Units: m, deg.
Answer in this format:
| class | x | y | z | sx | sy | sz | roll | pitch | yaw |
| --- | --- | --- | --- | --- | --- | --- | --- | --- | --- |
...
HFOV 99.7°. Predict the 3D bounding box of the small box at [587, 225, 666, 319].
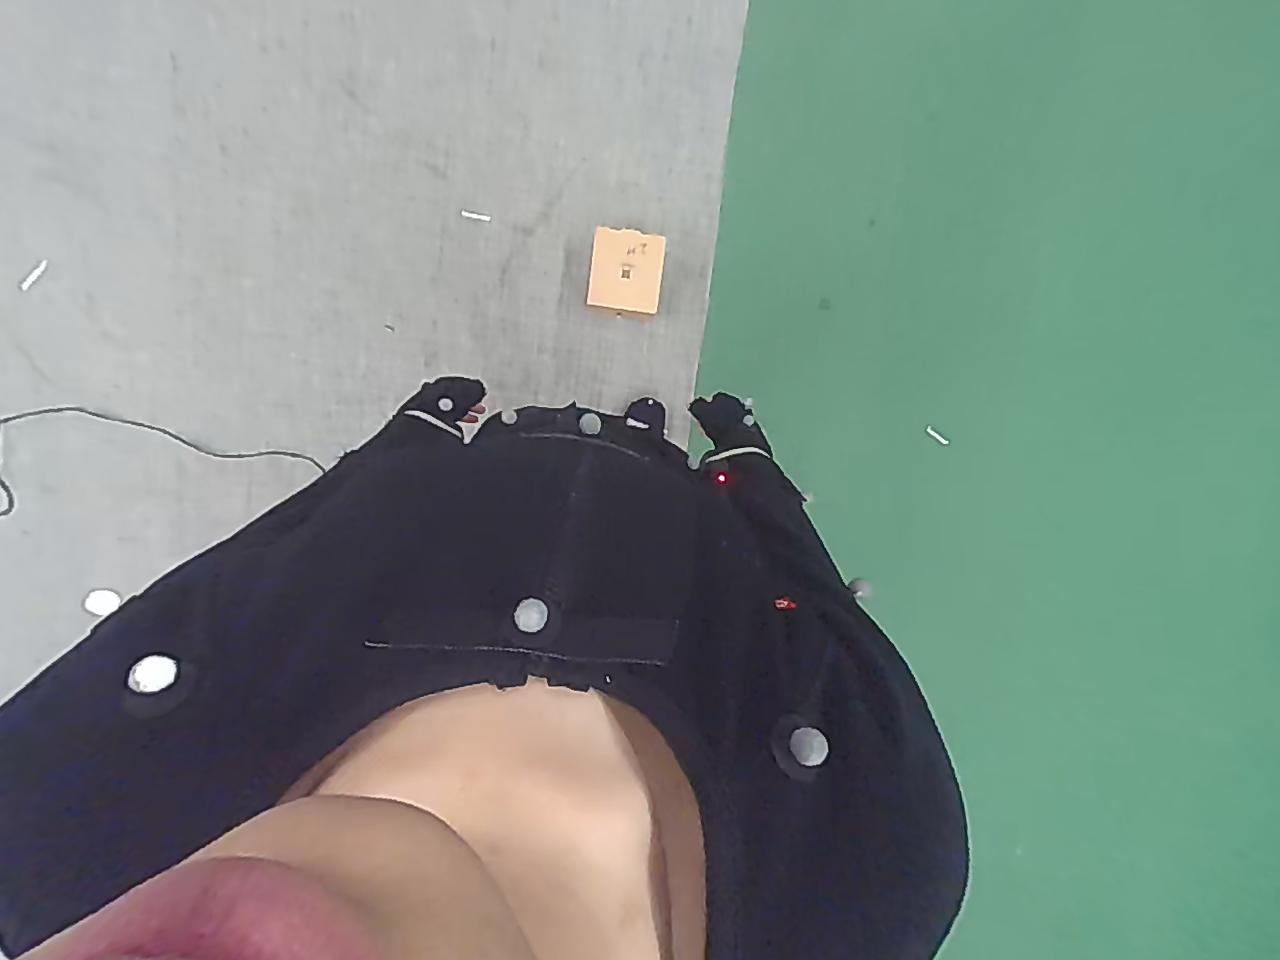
| class | x | y | z | sx | sy | sz | roll | pitch | yaw |
| --- | --- | --- | --- | --- | --- | --- | --- | --- | --- |
| small box | -0.035 | -0.495 | 1.313 | 0.168 | 0.176 | 0.179 | 7 | 100 | -5 |
